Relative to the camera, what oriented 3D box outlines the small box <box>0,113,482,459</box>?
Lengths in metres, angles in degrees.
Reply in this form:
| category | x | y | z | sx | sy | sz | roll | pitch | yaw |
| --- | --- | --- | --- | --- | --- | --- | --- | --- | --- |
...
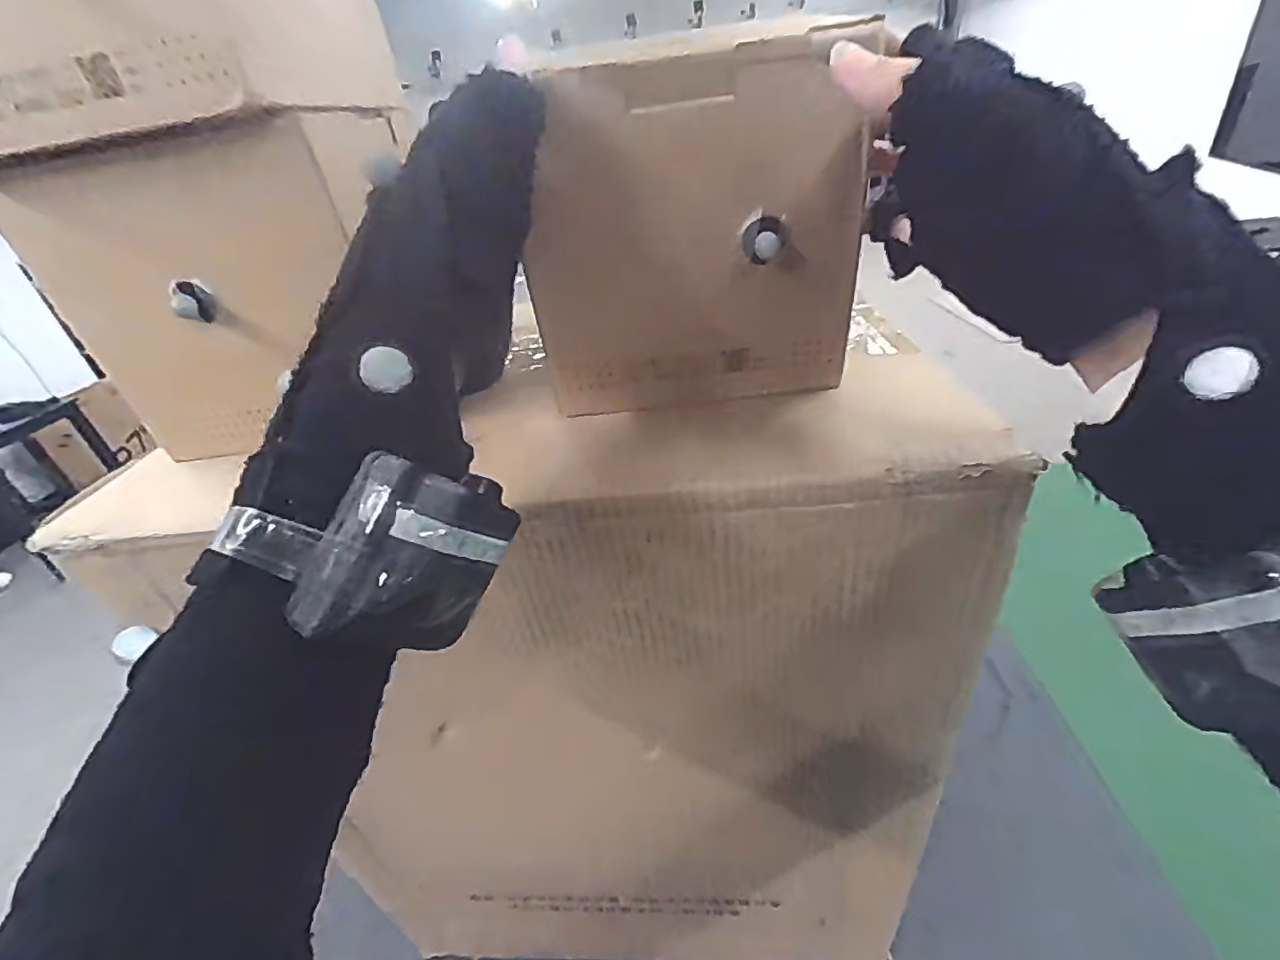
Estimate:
| category | x | y | z | sx | sy | sz | roll | pitch | yaw |
| --- | --- | --- | --- | --- | --- | --- | --- | --- | --- |
| small box | -0.228 | -0.132 | 0.370 | 0.179 | 0.176 | 0.168 | -7 | 35 | 6 |

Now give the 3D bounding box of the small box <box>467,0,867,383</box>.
| category | x | y | z | sx | sy | sz | roll | pitch | yaw |
| --- | --- | --- | --- | --- | --- | --- | --- | --- | --- |
| small box | 0.016 | -0.171 | 0.326 | 0.168 | 0.176 | 0.179 | -8 | 42 | 2 |

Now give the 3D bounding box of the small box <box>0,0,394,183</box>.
| category | x | y | z | sx | sy | sz | roll | pitch | yaw |
| --- | --- | --- | --- | --- | --- | --- | --- | --- | --- |
| small box | -0.254 | -0.258 | 0.268 | 0.168 | 0.176 | 0.179 | -7 | 36 | 5 |
